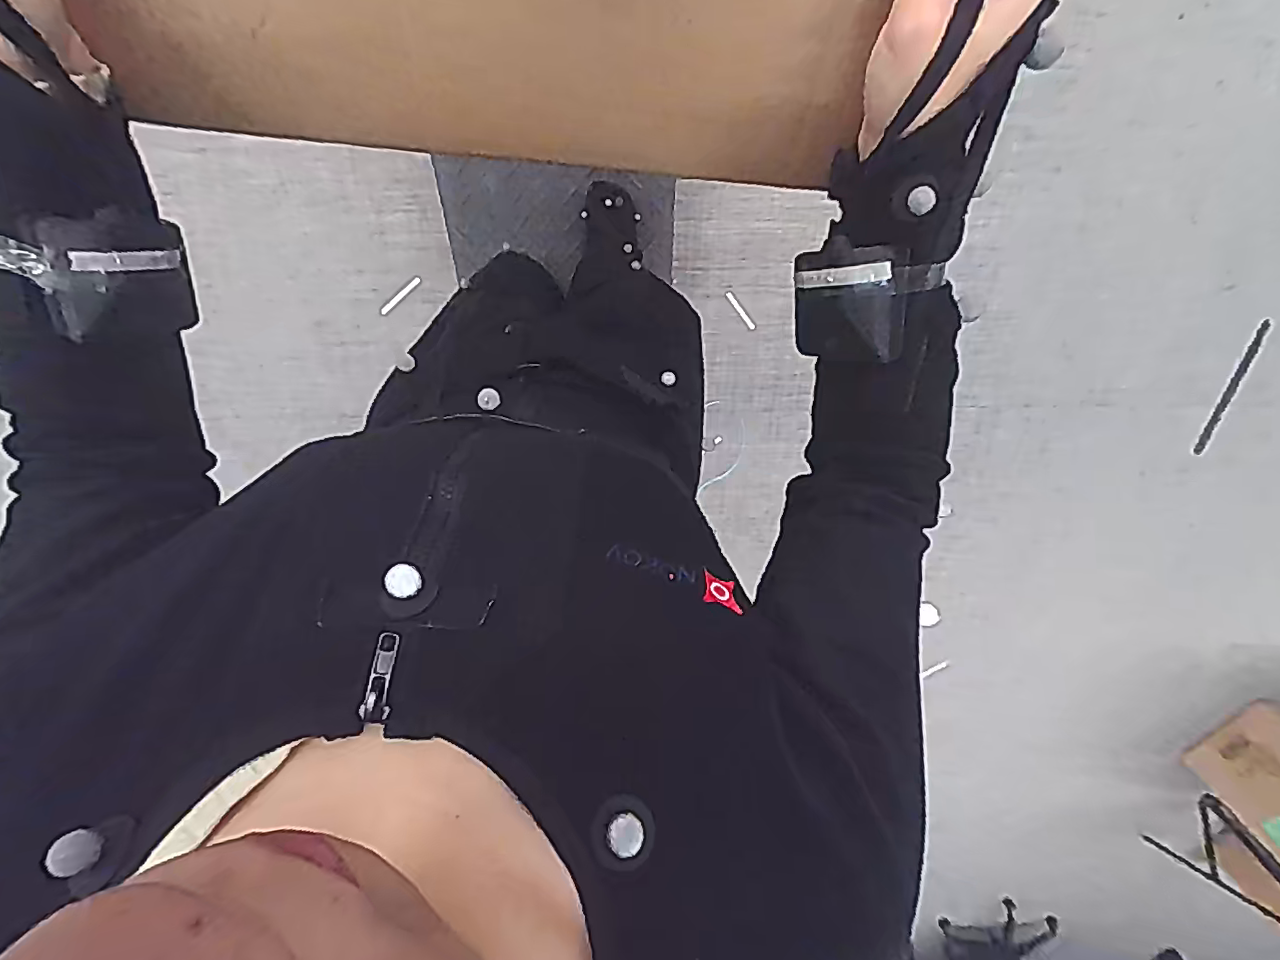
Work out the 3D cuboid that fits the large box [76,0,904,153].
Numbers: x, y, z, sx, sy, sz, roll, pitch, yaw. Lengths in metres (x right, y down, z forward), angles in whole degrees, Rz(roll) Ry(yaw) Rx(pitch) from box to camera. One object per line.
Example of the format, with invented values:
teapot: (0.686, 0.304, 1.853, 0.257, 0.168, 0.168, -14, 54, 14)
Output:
large box: (-0.065, -0.407, 0.265, 0.408, 0.320, 0.320, 2, 147, -4)
